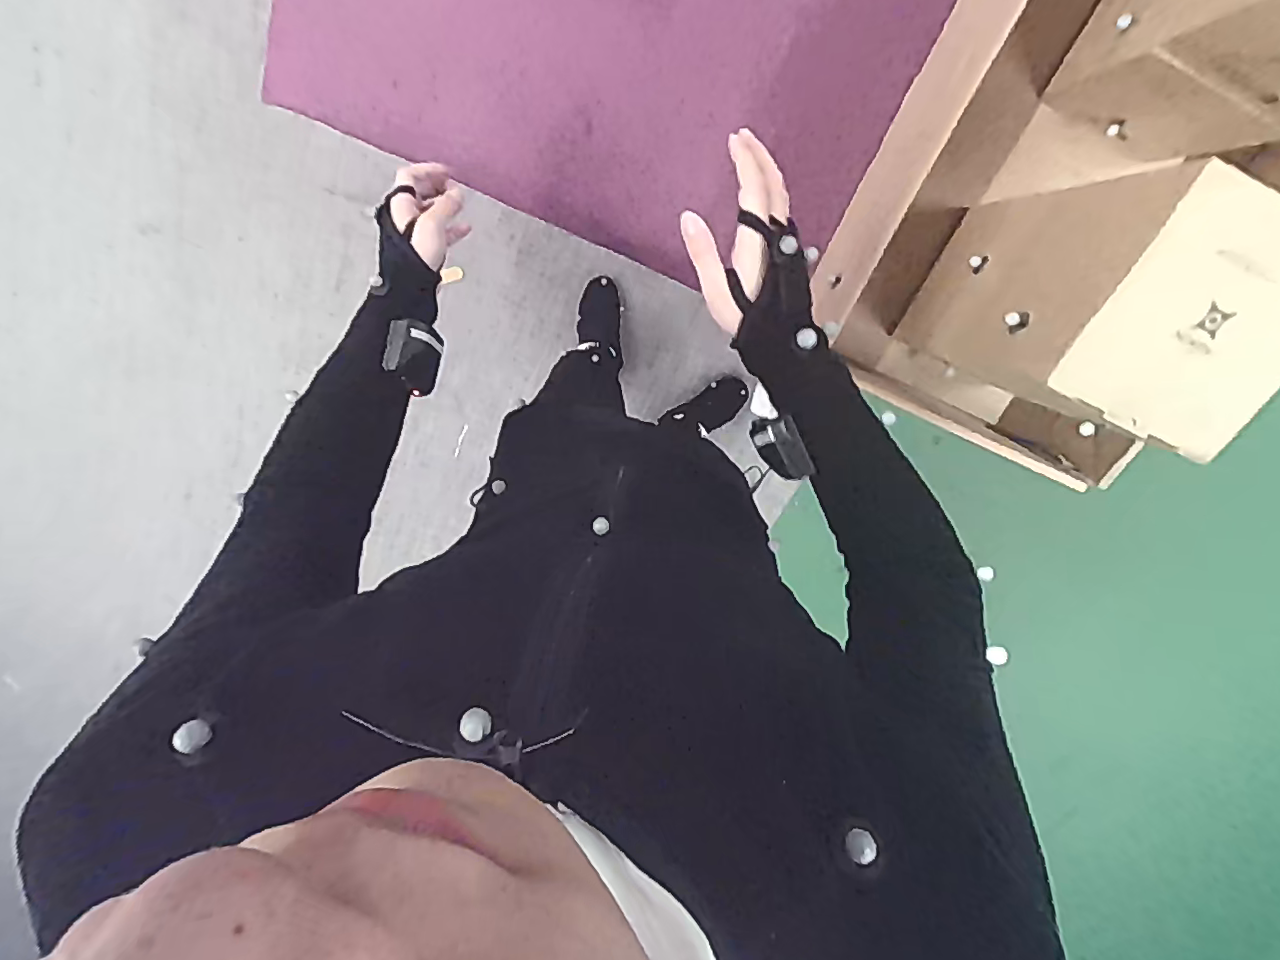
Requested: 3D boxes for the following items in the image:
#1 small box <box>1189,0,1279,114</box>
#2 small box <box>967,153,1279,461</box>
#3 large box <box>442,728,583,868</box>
[{"bbox_3d":[0.558,-0.387,0.375,0.168,0.176,0.179,25,112,-7],"label":"small box"},{"bbox_3d":[0.434,-0.148,0.482,0.168,0.176,0.179,24,111,-6],"label":"small box"},{"bbox_3d":[-0.450,1.165,1.999,0.408,0.320,0.320,-8,113,4],"label":"large box"}]
